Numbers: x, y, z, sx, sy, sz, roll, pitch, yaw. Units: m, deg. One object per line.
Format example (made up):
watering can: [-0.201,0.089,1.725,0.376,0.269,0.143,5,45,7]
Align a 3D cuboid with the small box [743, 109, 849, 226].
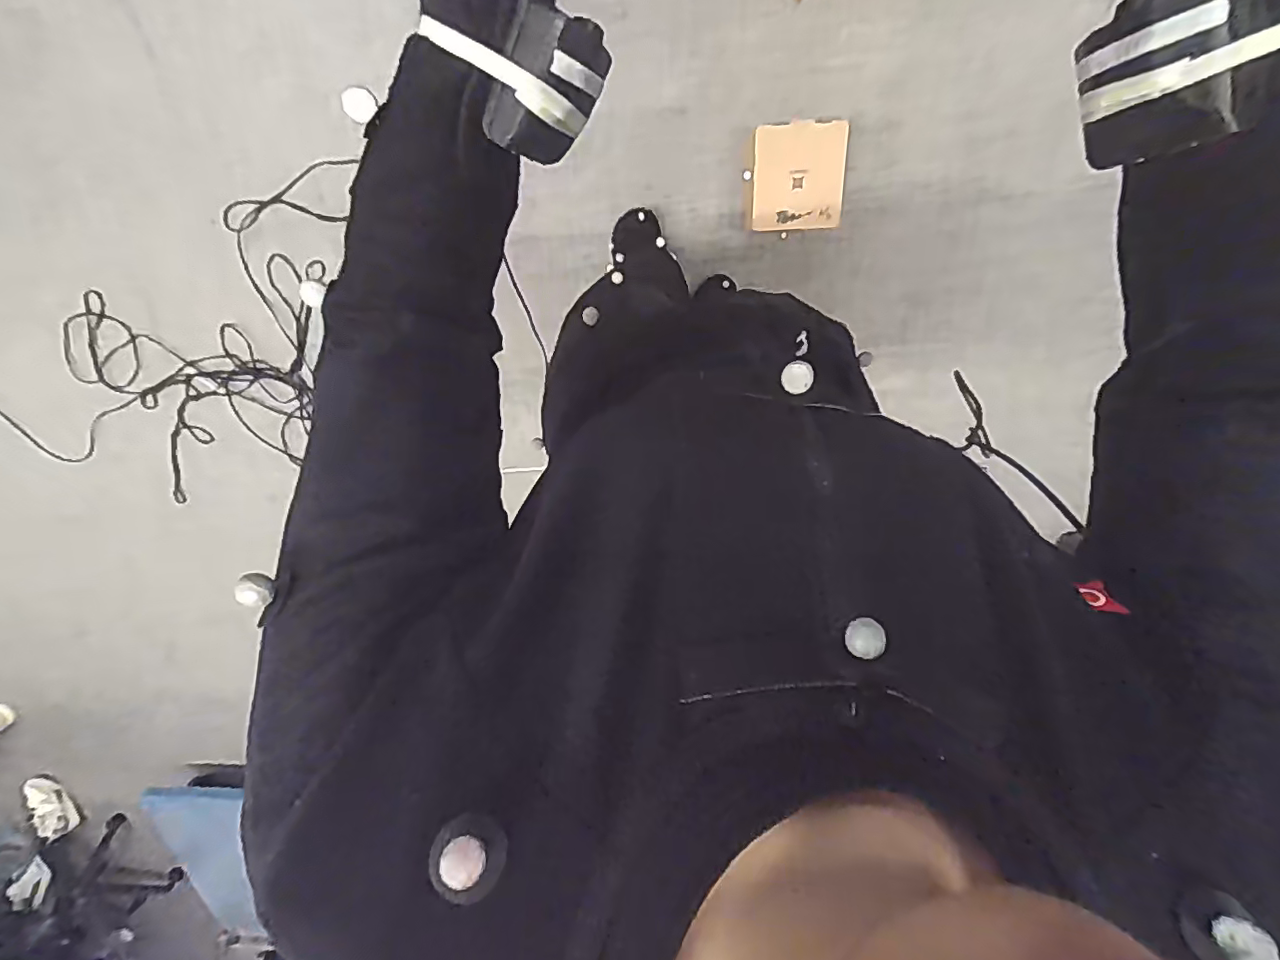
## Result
small box: [0.294,-0.600,1.057,0.168,0.176,0.179,0,113,5]
